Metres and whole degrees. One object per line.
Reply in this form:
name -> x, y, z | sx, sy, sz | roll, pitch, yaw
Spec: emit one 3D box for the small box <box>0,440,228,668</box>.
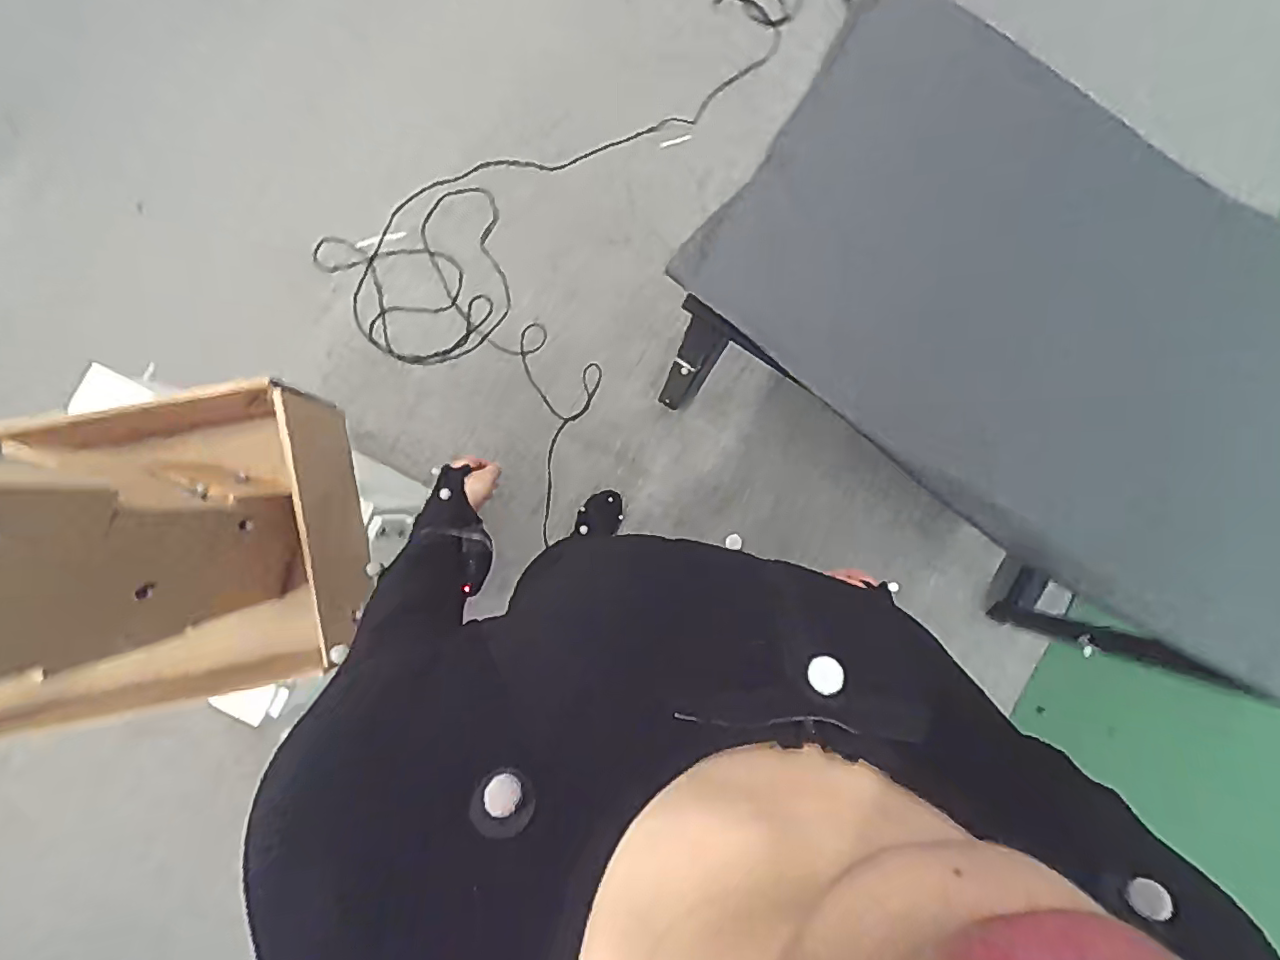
small box -> -0.602, 0.066, 0.586 | 0.168, 0.176, 0.179 | 23, 90, -1
